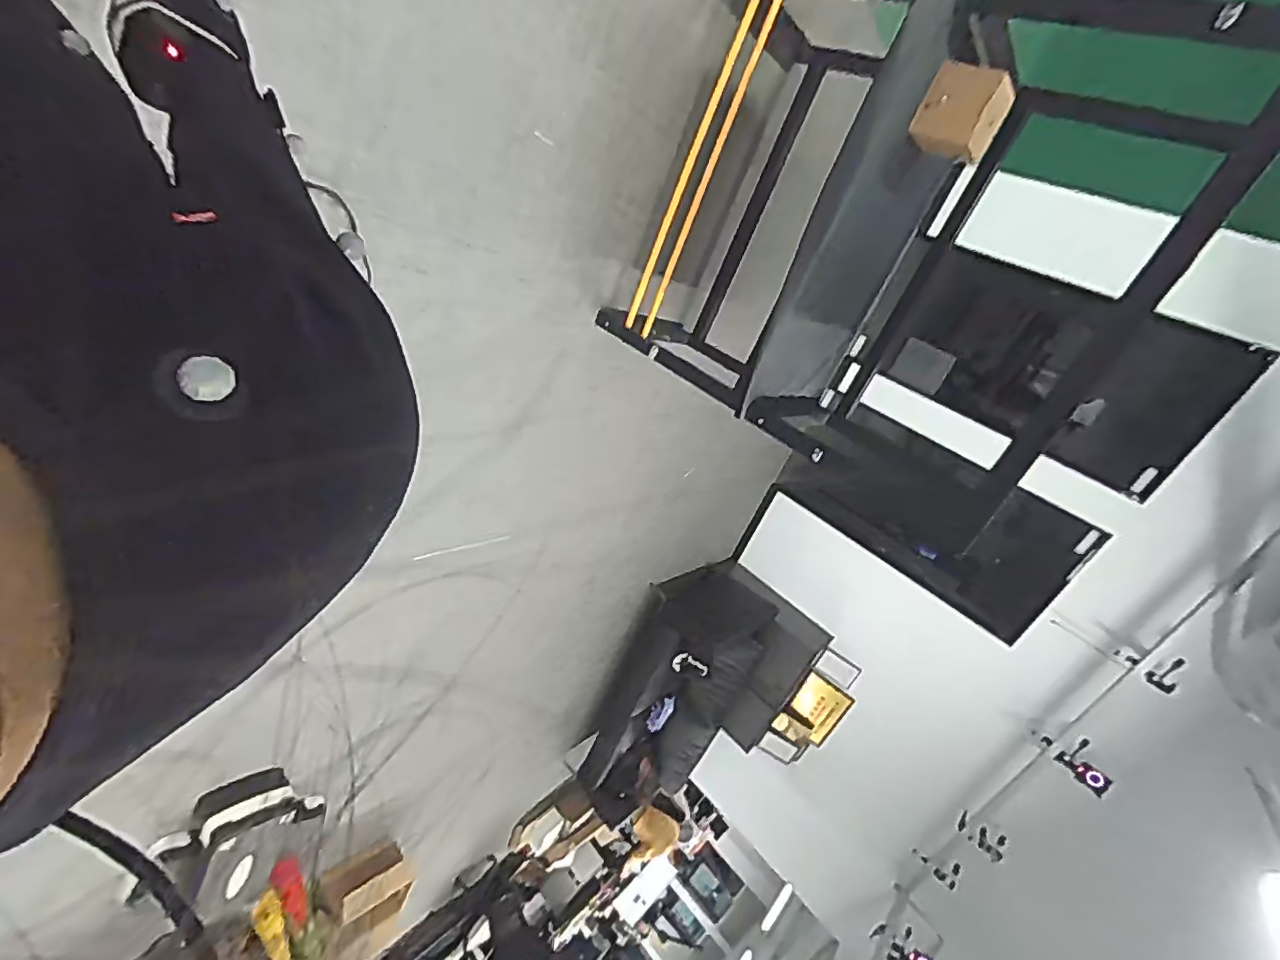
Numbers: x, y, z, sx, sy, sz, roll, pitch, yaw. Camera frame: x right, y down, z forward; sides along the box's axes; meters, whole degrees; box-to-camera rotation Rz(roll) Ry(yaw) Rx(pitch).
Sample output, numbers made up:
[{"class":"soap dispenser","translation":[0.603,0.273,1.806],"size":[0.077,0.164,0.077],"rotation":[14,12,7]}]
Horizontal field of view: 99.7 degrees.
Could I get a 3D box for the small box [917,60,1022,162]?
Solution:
[{"class":"small box","translation":[0.881,-0.990,1.452],"size":[0.179,0.176,0.168],"rotation":[-12,132,-49]}]
